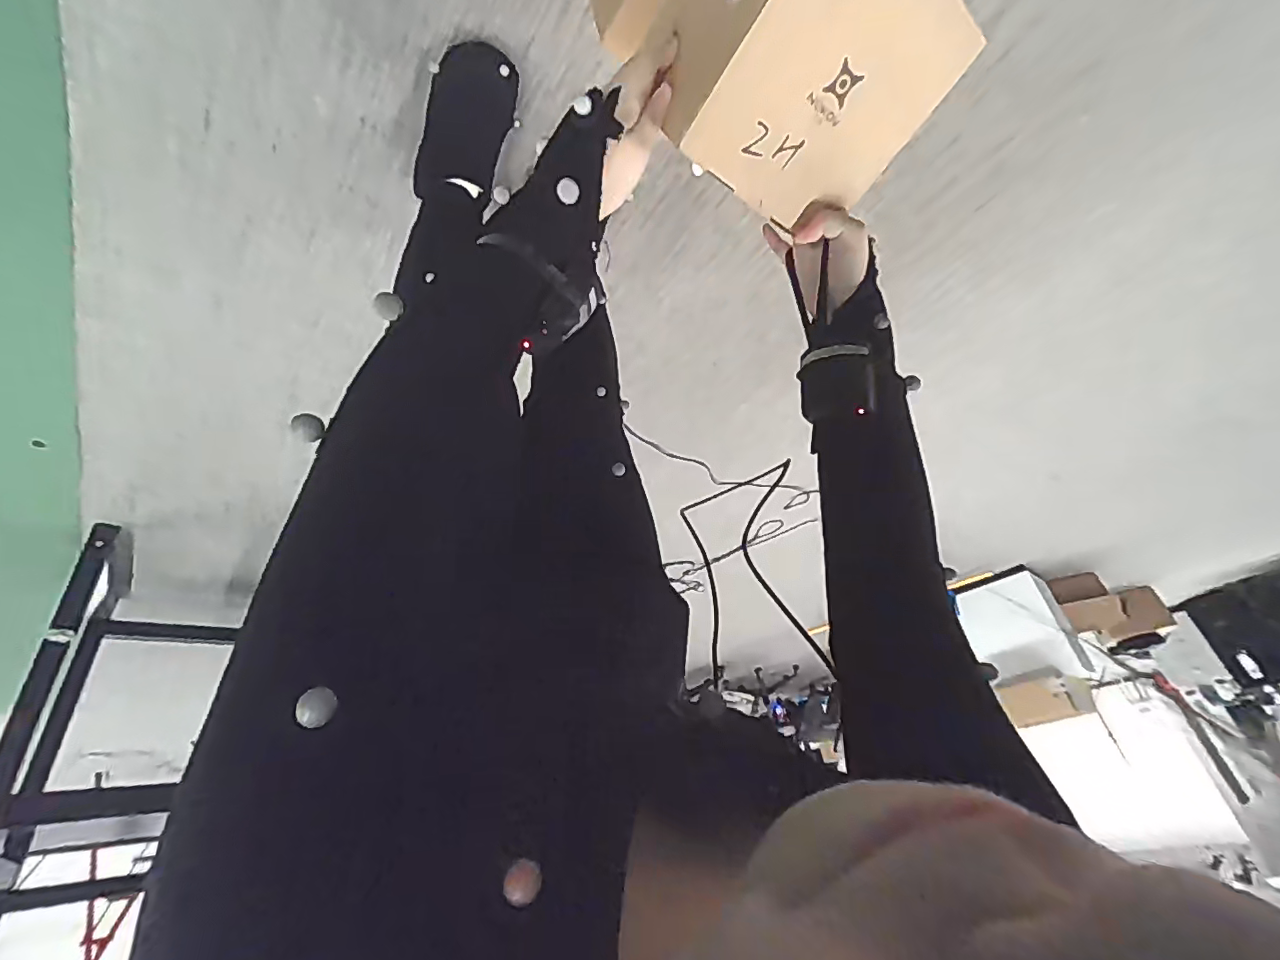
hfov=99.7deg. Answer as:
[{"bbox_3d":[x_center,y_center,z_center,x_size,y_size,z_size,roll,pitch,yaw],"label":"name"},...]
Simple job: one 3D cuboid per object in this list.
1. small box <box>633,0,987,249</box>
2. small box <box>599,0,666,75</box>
[{"bbox_3d":[0.115,-0.331,0.430,0.168,0.176,0.179,16,130,-34],"label":"small box"},{"bbox_3d":[0.071,-0.485,0.535,0.168,0.176,0.179,20,138,-35],"label":"small box"}]
